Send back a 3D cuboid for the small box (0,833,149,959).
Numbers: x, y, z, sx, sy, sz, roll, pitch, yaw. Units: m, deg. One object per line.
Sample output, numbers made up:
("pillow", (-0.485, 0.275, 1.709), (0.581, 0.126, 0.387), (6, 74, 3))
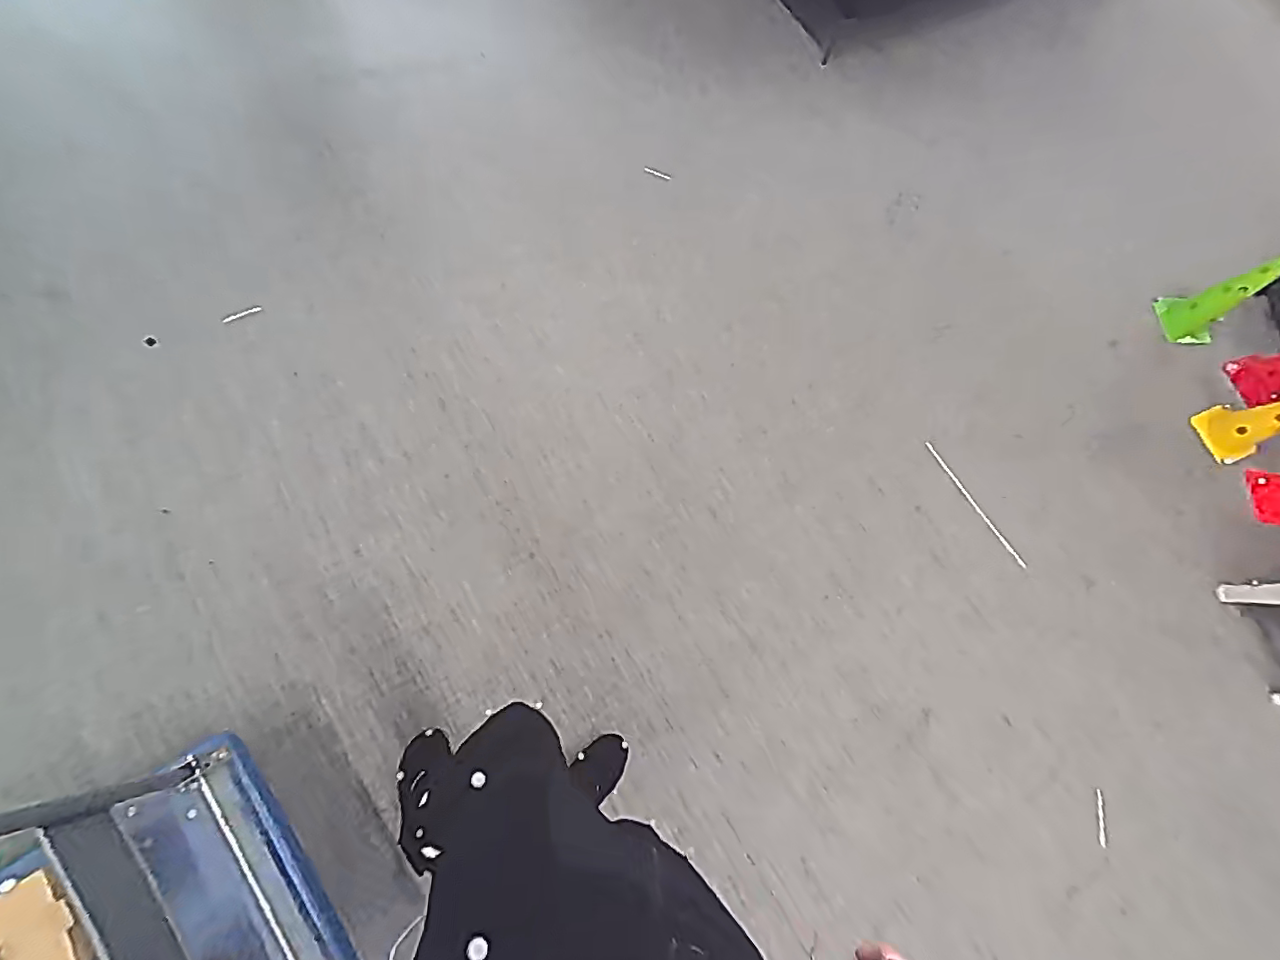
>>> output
("small box", (-0.993, 0.739, 0.901), (0.179, 0.176, 0.168), (-30, 80, -19))
